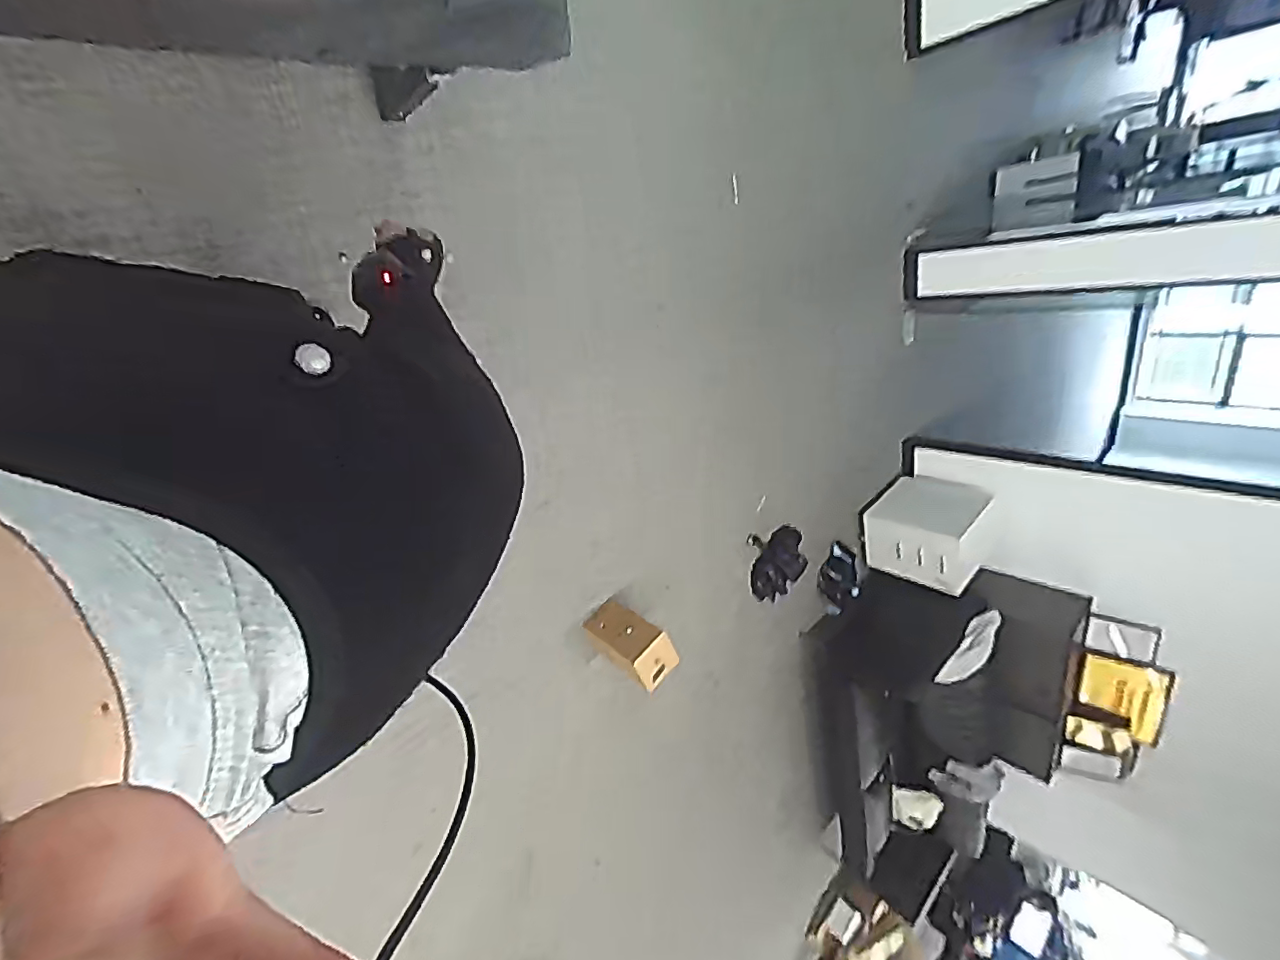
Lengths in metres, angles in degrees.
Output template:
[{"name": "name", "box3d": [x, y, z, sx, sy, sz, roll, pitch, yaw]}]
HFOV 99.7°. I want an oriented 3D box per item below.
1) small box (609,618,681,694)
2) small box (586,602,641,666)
[{"name": "small box", "box3d": [0.016, 0.638, 1.984, 0.168, 0.176, 0.179, -40, 124, -25]}, {"name": "small box", "box3d": [-0.083, 0.602, 2.110, 0.168, 0.176, 0.179, -41, 126, -24]}]
